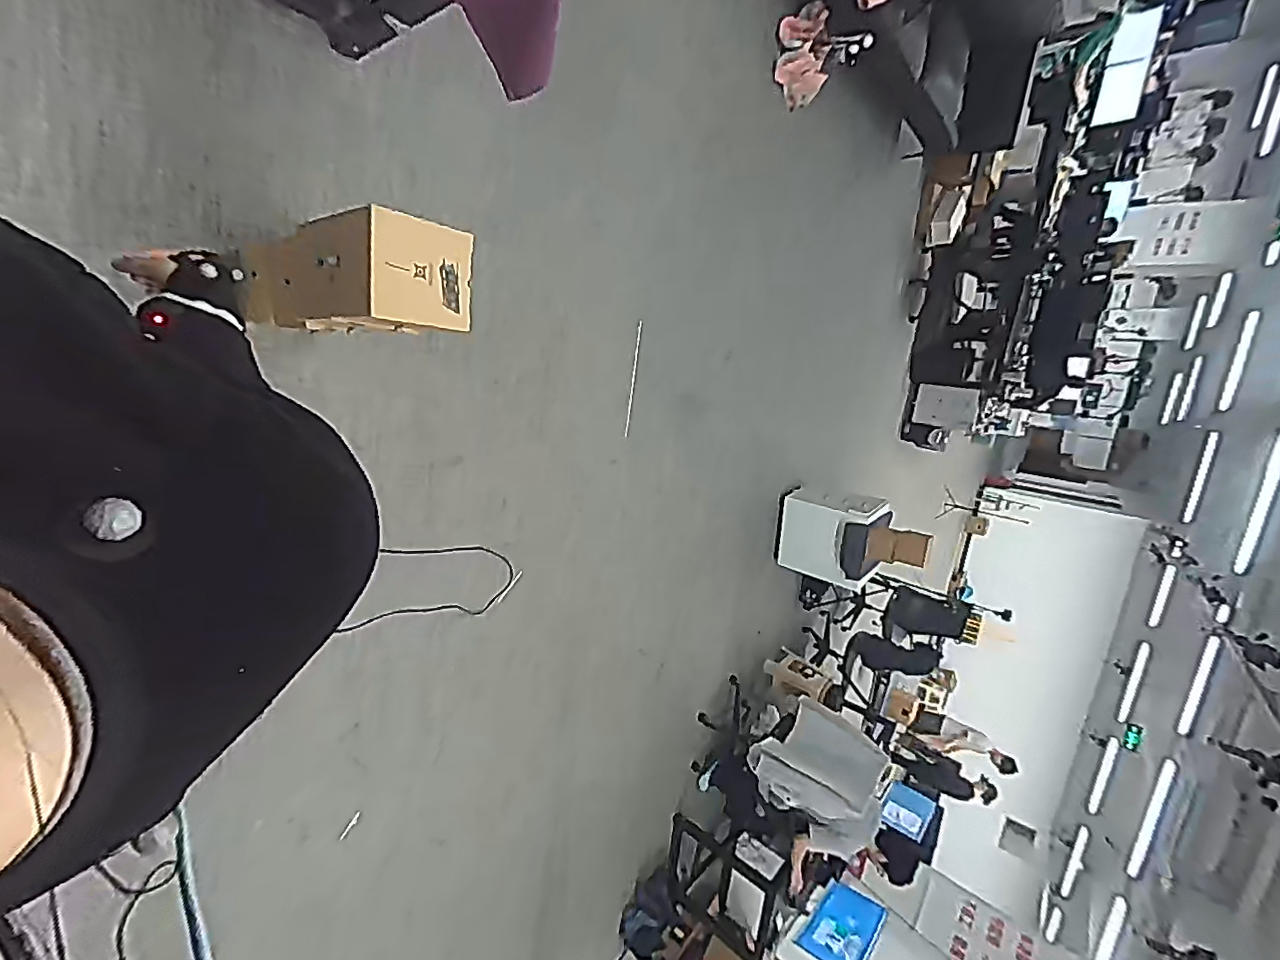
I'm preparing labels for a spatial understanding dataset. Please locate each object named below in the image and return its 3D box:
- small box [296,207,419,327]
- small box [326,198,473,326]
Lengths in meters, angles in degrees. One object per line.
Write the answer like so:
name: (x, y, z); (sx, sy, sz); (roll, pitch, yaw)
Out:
small box: (-0.537, -0.395, 1.032); (0.168, 0.176, 0.179); (-4, 105, -50)
small box: (-0.413, -0.364, 0.929); (0.179, 0.176, 0.168); (-7, 107, -49)
